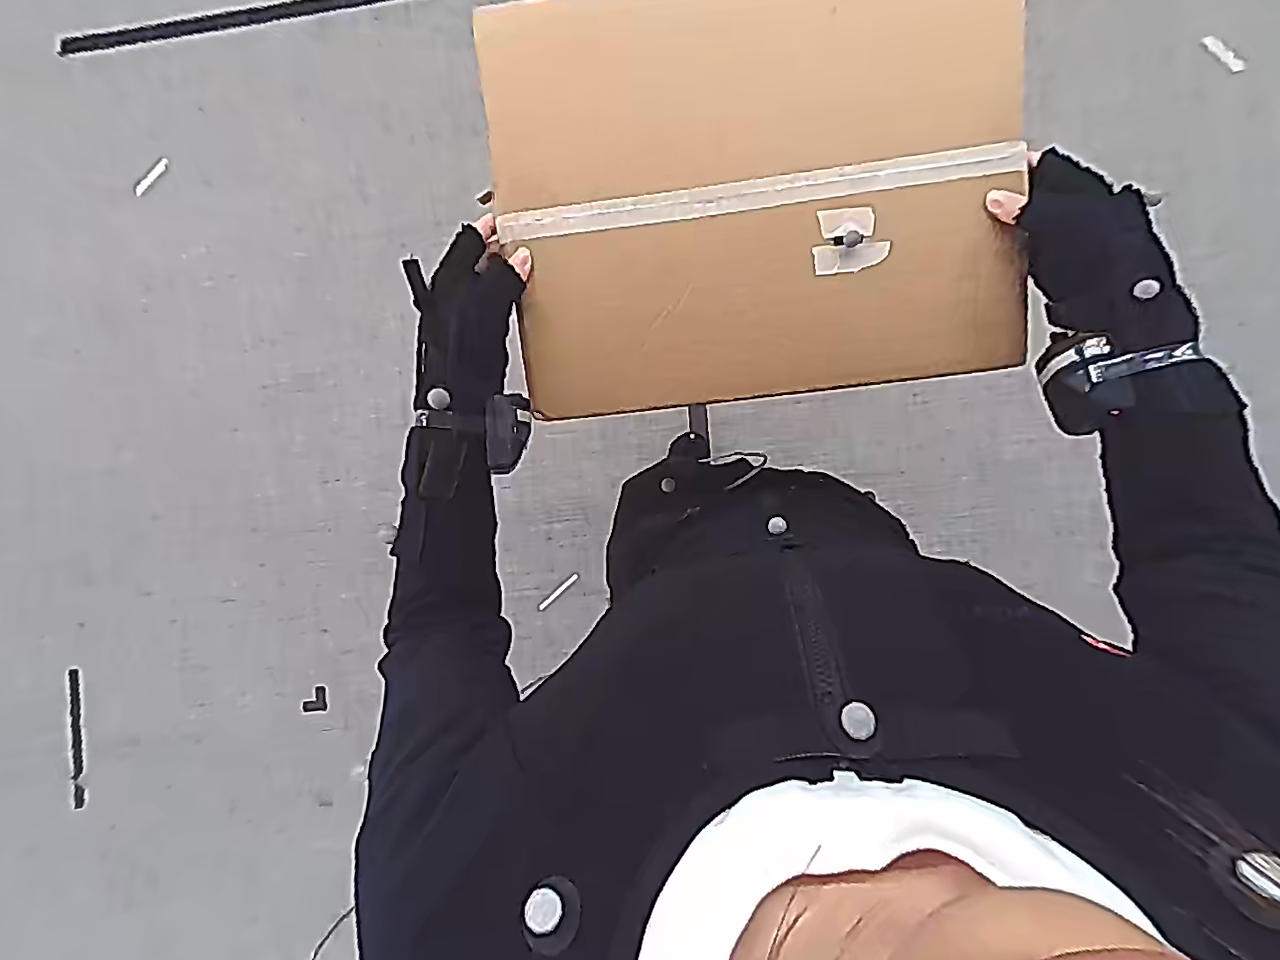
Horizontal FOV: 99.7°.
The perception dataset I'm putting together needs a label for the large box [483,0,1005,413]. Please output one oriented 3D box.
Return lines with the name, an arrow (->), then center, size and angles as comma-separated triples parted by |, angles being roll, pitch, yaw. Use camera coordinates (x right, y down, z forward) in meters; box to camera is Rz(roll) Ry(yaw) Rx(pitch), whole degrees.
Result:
large box -> 0.093, -0.256, 0.585 | 0.408, 0.320, 0.320 | -6, 100, 3
